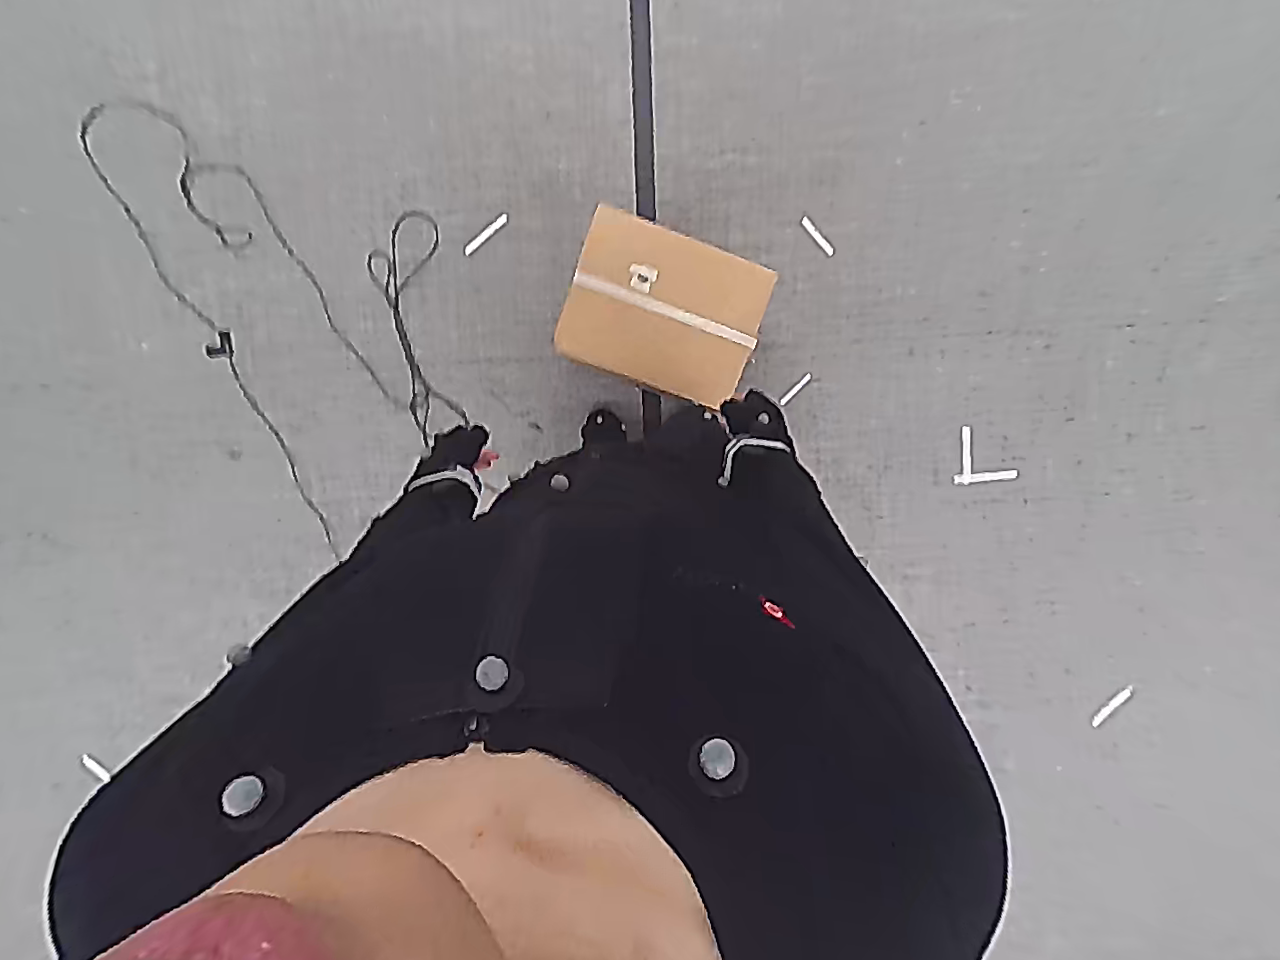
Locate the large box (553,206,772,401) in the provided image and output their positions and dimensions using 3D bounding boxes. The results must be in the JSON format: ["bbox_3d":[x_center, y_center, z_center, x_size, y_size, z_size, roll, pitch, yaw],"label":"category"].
[{"bbox_3d":[0.049,-0.392,1.290,0.408,0.320,0.320,17,97,-2],"label":"large box"}]
